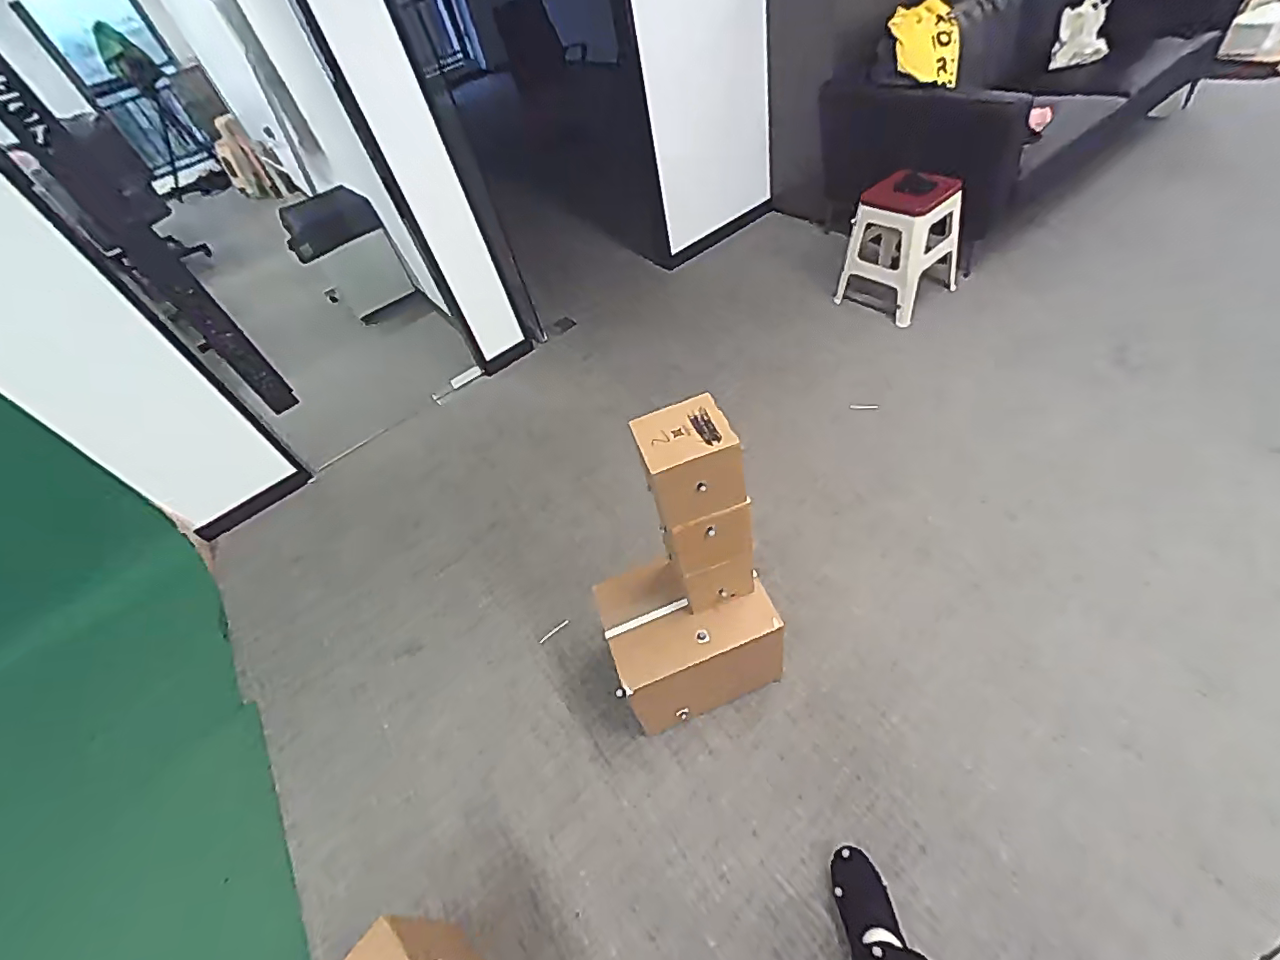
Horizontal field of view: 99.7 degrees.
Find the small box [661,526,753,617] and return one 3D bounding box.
[{"bbox_3d":[0.164,0.198,1.312,0.168,0.176,0.179,-21,45,-4],"label":"small box"}]

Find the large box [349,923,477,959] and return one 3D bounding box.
[{"bbox_3d":[-0.467,1.122,0.977,0.320,0.320,0.408,26,61,33],"label":"large box"}]

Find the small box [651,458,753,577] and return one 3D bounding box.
[{"bbox_3d":[0.139,0.085,1.197,0.179,0.176,0.168,-20,45,-3],"label":"small box"}]
